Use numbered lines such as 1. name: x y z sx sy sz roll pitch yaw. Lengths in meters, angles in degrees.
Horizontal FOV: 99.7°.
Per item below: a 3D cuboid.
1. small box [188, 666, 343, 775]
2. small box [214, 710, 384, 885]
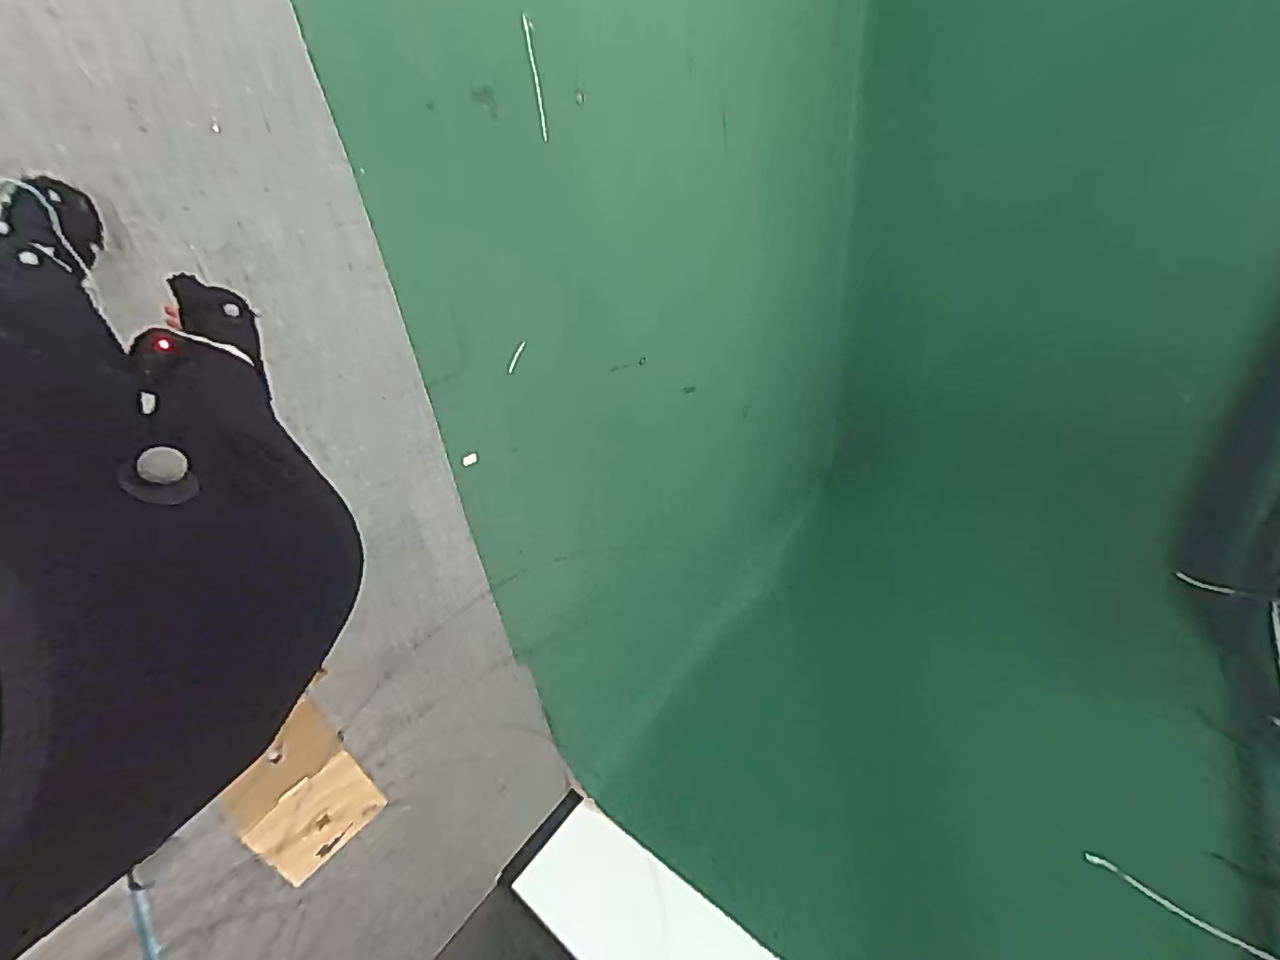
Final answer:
1. small box: -0.708 0.484 1.028 0.168 0.176 0.179 -37 132 -36
2. small box: -0.585 0.531 0.931 0.168 0.176 0.179 -37 131 -35
